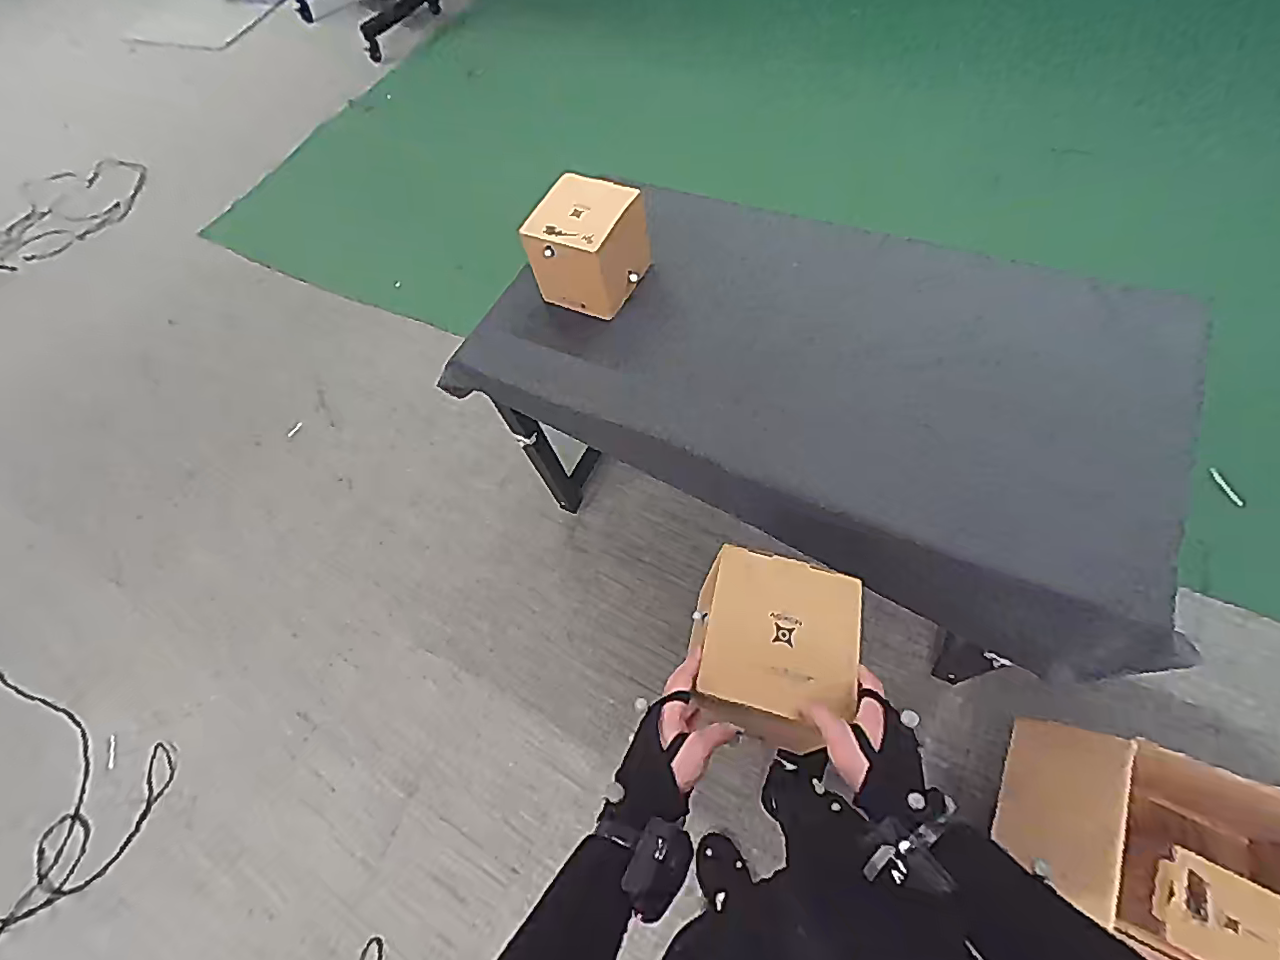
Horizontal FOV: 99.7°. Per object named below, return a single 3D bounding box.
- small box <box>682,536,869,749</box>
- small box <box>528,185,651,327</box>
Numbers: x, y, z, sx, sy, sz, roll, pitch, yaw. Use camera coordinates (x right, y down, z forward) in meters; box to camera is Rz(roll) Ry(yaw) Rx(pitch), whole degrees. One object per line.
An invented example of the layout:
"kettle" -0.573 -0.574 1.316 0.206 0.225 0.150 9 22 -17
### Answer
"small box" 0.152 0.196 0.638 0.168 0.176 0.179 14 58 5
"small box" -0.088 -0.438 1.064 0.168 0.176 0.179 23 67 19
